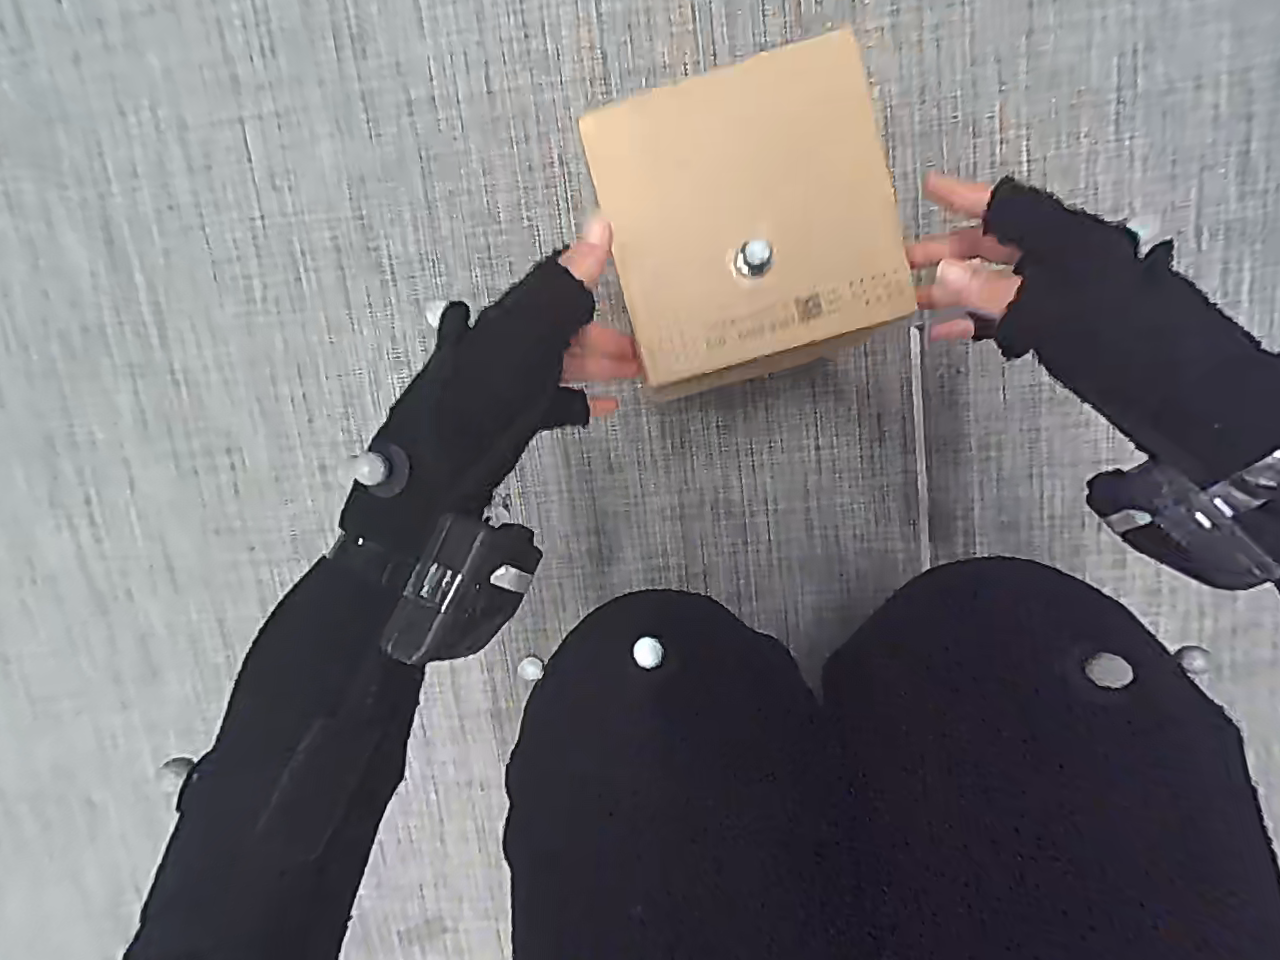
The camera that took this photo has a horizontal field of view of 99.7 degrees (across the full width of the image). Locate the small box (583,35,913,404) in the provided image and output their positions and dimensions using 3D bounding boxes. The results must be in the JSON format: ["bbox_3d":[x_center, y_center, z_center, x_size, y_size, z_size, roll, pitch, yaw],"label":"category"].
[{"bbox_3d":[0.073,-0.158,0.402,0.168,0.179,0.176,-16,93,7],"label":"small box"}]
